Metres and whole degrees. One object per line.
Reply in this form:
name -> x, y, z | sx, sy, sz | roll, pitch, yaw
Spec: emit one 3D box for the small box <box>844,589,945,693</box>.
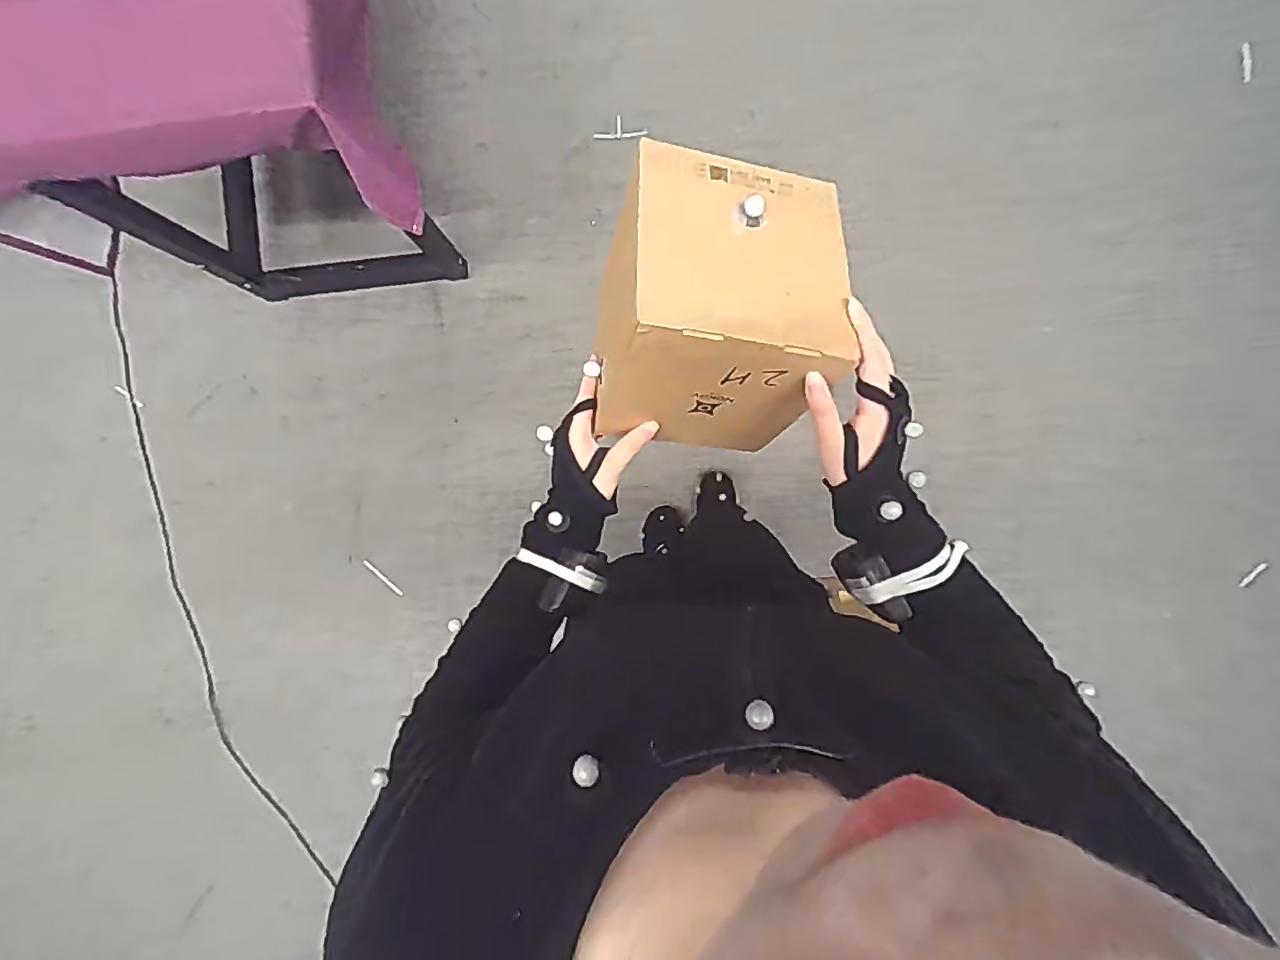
small box -> 0.590, 0.364, 1.244 | 0.179, 0.176, 0.168 | -16, 89, 1
